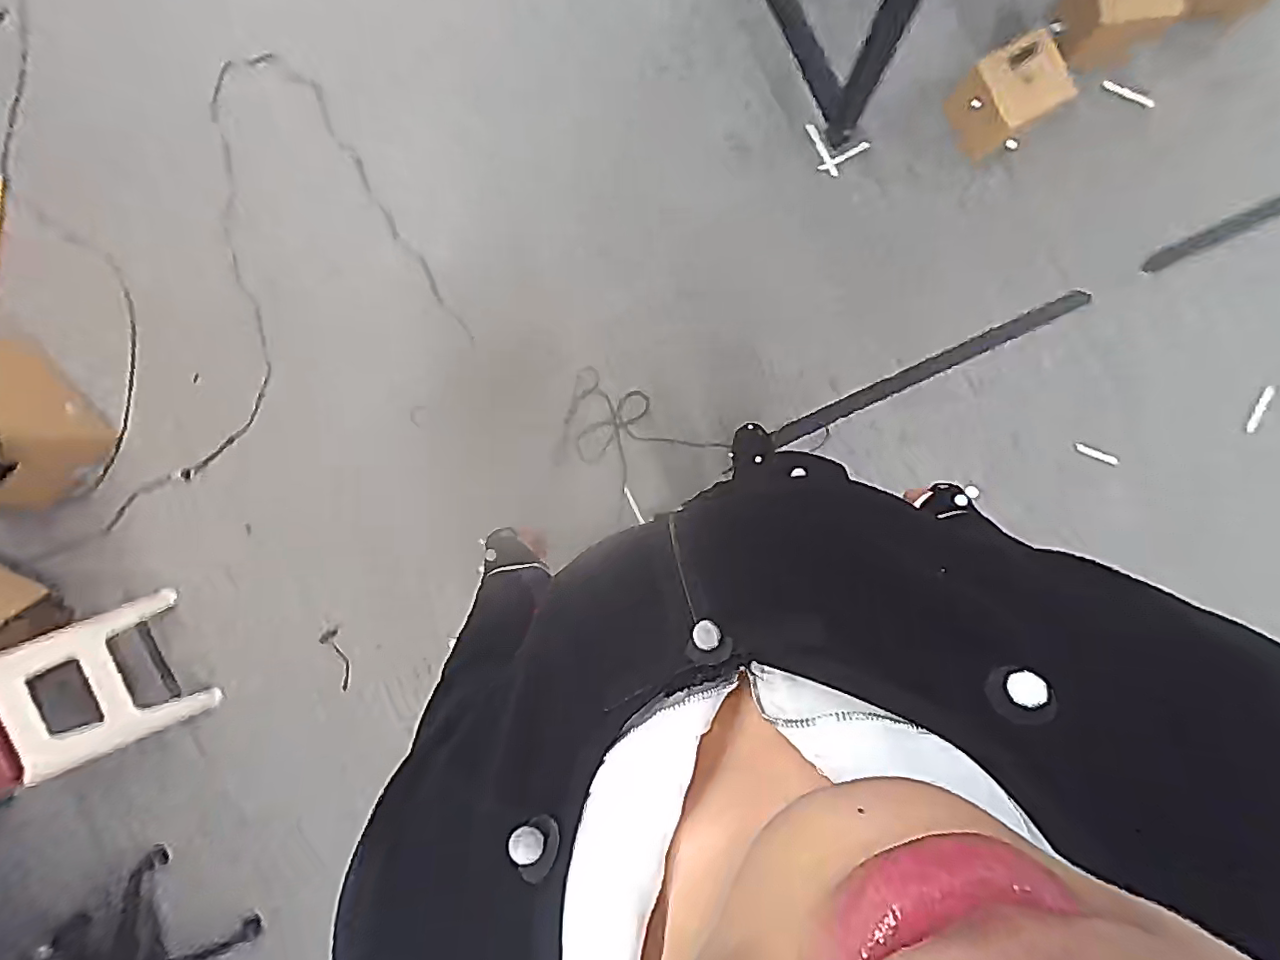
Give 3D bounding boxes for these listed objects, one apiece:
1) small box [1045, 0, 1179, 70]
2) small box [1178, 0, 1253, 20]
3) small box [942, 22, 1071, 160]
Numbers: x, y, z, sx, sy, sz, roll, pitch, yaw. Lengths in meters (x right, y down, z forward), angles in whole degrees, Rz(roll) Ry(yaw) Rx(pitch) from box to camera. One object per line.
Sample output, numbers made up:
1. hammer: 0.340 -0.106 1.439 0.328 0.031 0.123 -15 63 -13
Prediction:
1. small box: 1.106 -1.116 1.278 0.179 0.176 0.168 -5 92 6
2. small box: 1.386 -1.228 1.243 0.168 0.176 0.179 17 95 4
3. small box: 0.873 -0.928 1.308 0.168 0.176 0.179 -27 92 6
